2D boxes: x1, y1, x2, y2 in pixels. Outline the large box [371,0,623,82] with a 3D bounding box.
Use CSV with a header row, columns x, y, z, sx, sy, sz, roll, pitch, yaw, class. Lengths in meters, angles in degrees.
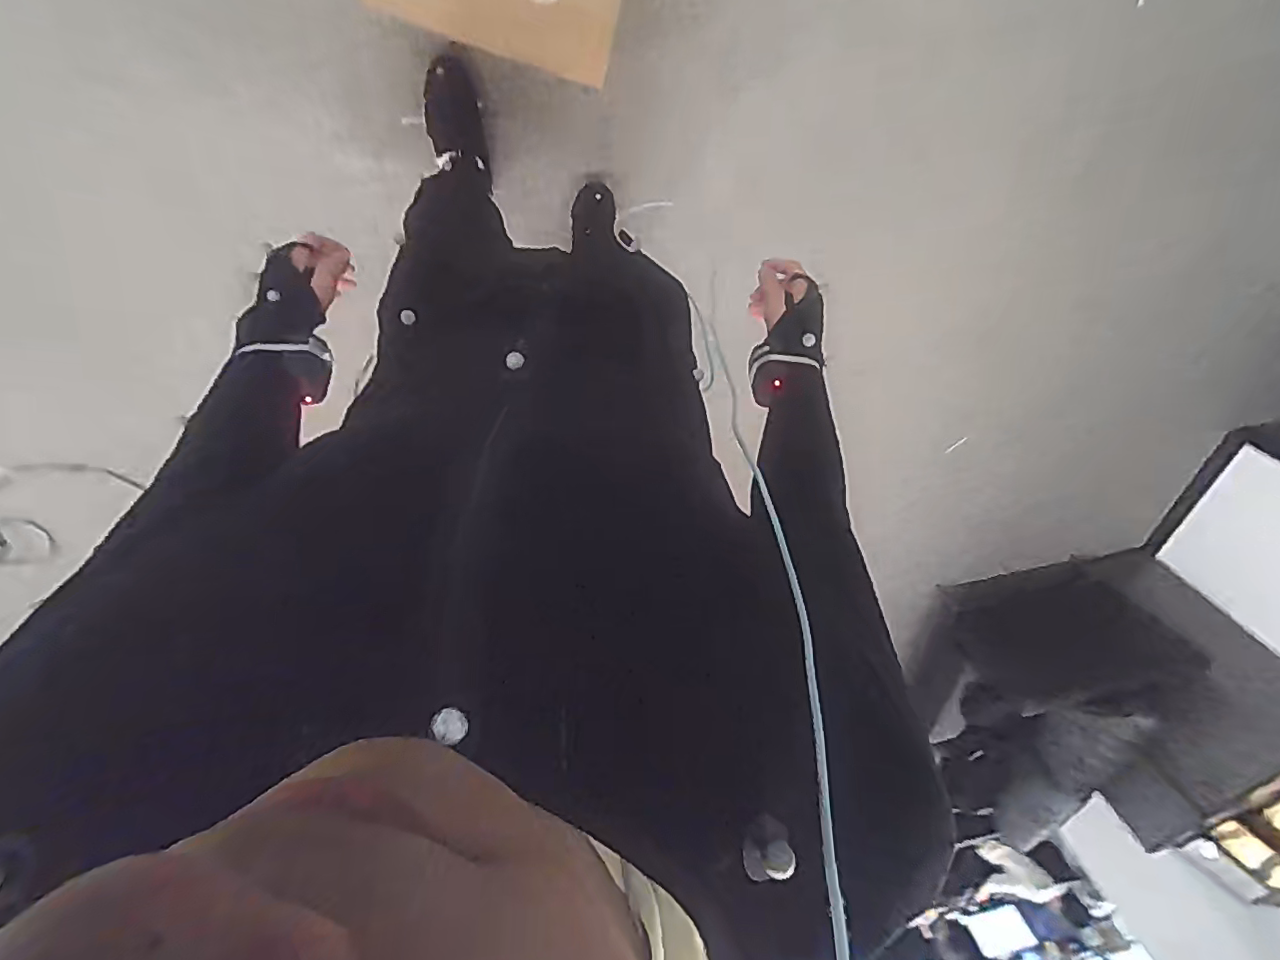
x,y,z,sx,sy,sz,roll,pitch,yaw,class
-0.238,-0.955,0.952,0.408,0.320,0.320,6,127,-20,large box
